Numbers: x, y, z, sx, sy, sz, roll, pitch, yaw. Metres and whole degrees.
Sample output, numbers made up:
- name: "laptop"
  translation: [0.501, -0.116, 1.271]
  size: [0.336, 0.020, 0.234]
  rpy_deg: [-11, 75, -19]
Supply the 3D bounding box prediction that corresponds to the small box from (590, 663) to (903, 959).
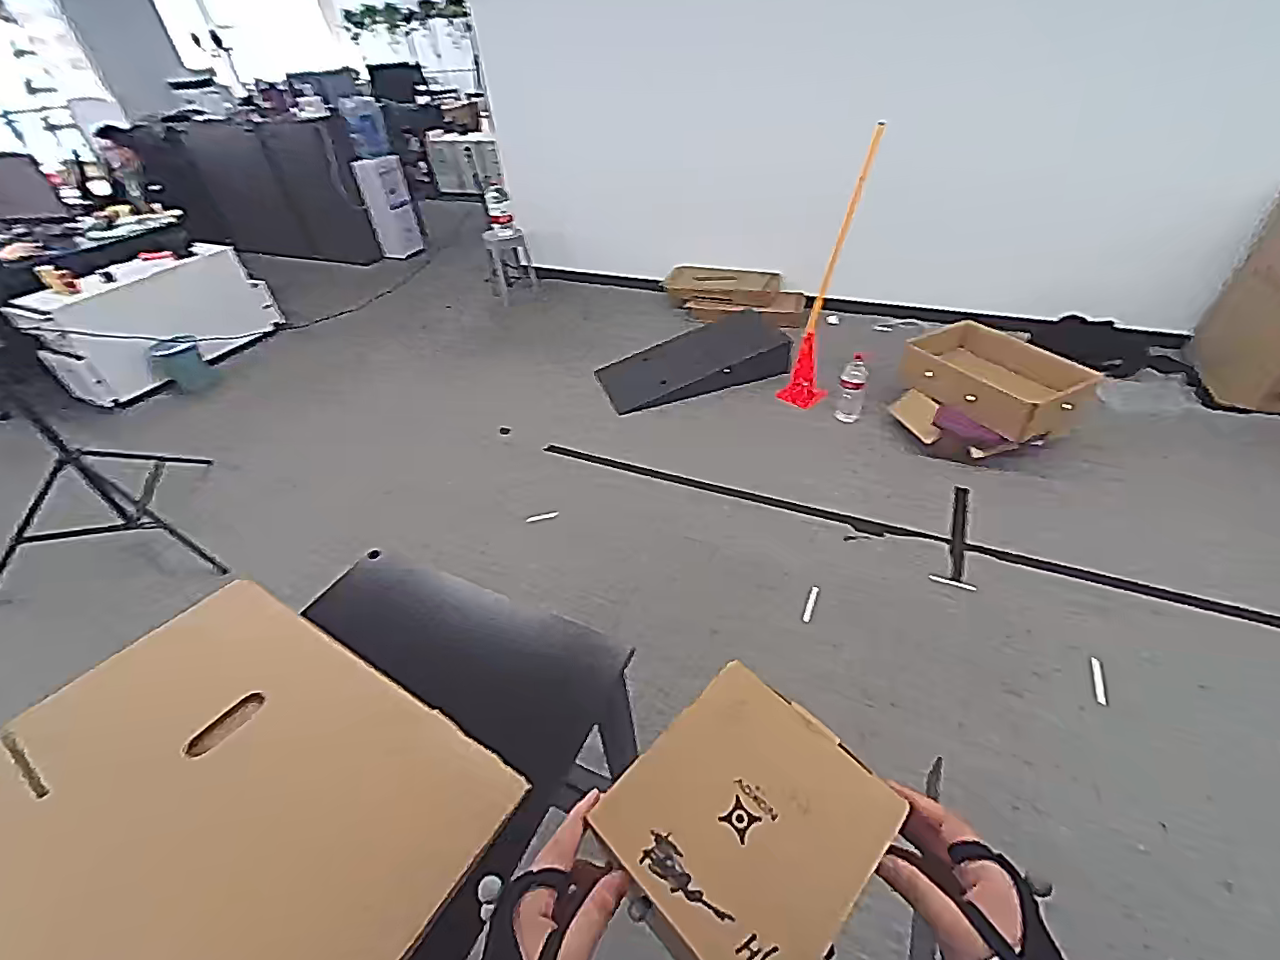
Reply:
- name: "small box"
  translation: [0.078, 0.299, 0.449]
  size: [0.168, 0.176, 0.179]
  rpy_deg: [33, 53, 32]
